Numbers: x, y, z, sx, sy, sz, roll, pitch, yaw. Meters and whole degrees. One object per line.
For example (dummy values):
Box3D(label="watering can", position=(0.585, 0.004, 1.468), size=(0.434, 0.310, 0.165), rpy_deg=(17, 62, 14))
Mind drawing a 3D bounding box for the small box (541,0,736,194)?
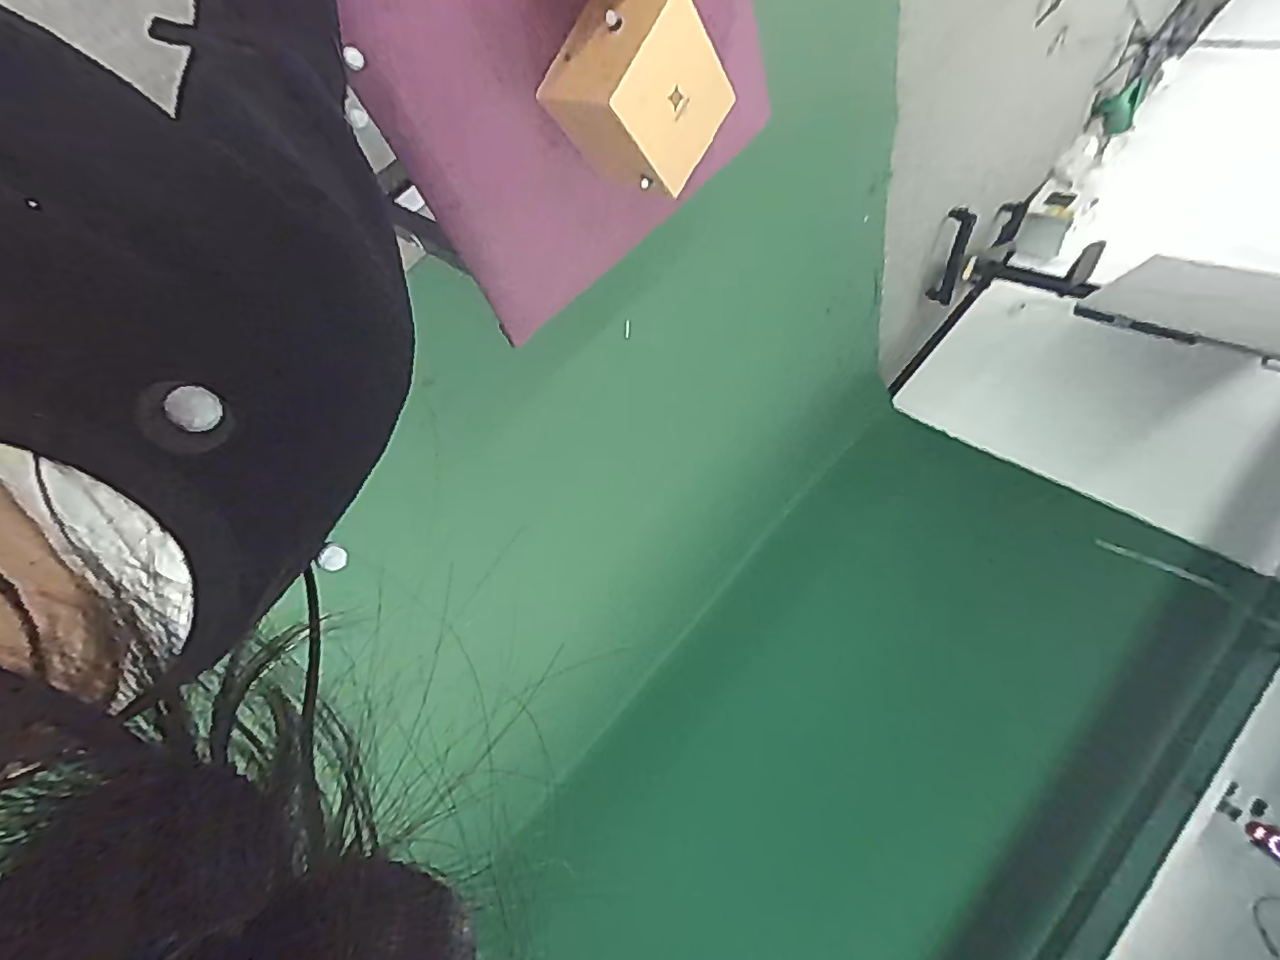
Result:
Box3D(label="small box", position=(-0.003, -0.536, 0.749), size=(0.168, 0.176, 0.179), rpy_deg=(-58, 146, 5))
